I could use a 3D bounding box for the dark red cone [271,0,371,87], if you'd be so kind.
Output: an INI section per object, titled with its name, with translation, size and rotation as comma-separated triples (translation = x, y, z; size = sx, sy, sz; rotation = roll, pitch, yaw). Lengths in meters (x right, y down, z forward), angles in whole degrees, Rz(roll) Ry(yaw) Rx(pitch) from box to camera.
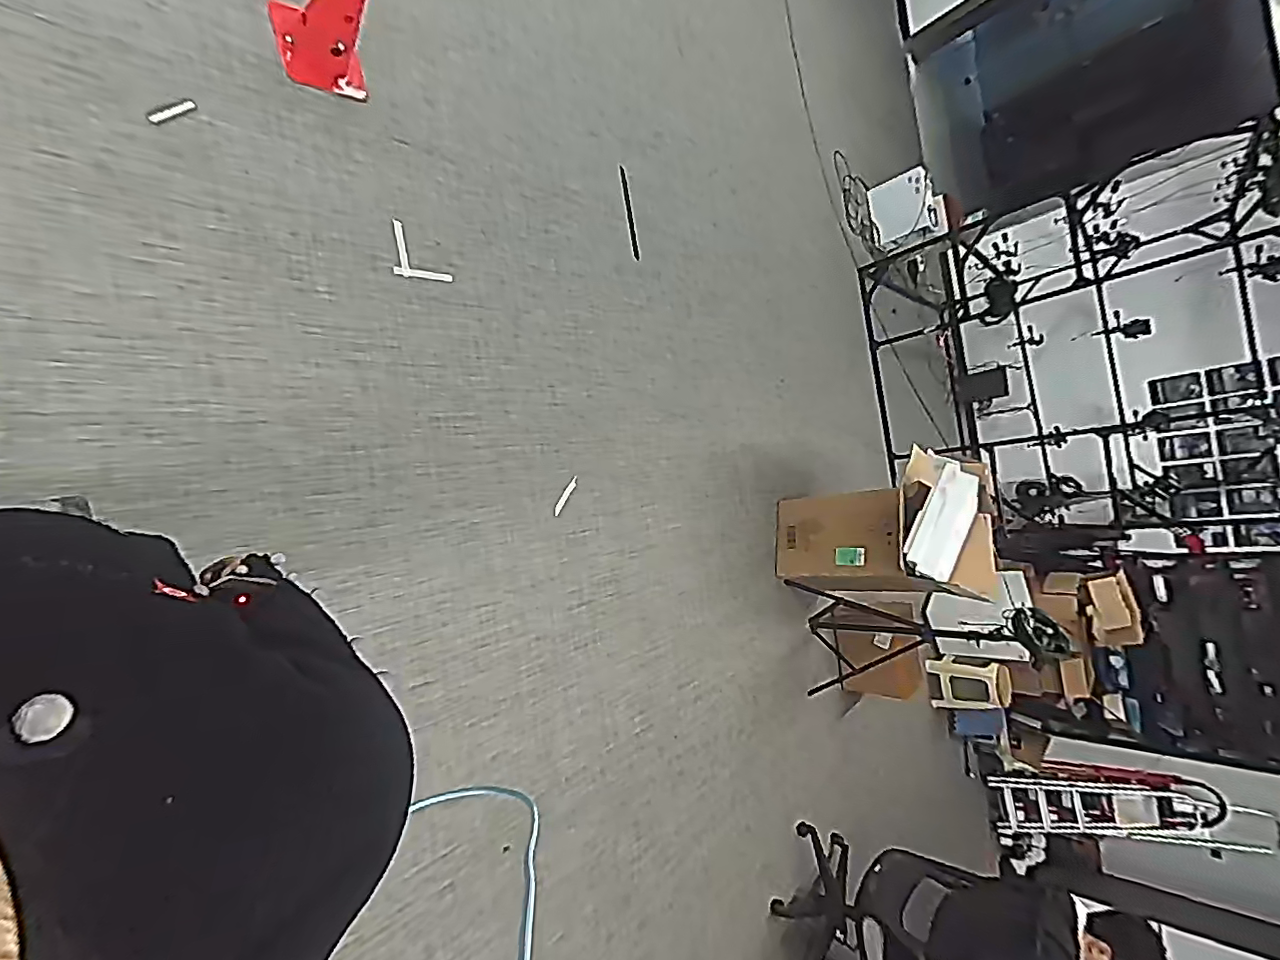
[dark red cone]
translation = -0.689, -1.132, 1.251
size = 0.201, 0.394, 0.202
rotation = -18, 96, -45
